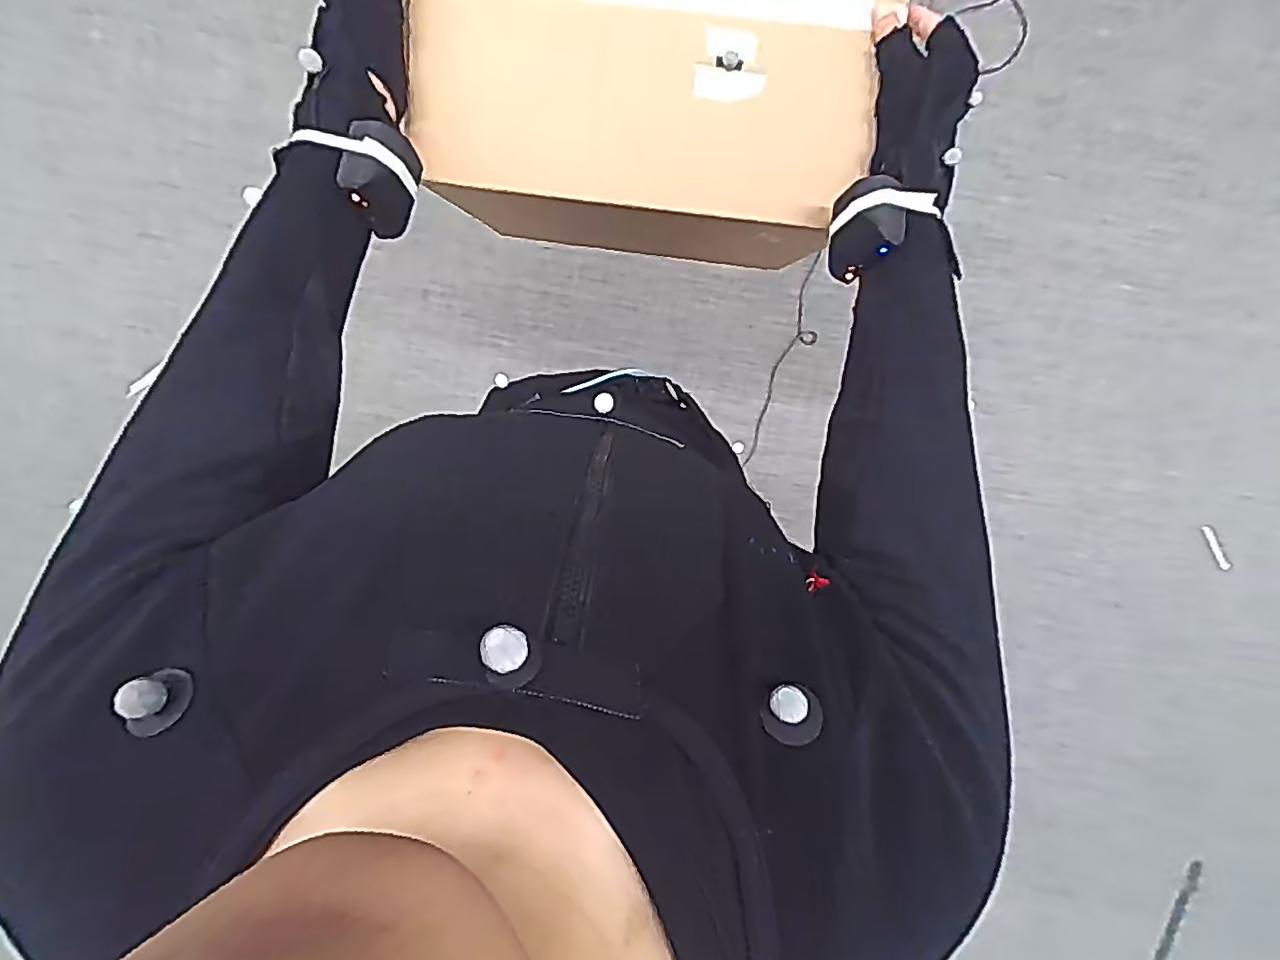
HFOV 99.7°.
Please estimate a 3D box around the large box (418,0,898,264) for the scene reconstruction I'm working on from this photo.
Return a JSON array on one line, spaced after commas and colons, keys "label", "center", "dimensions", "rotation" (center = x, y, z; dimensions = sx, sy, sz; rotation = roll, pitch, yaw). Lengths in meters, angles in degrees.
[{"label": "large box", "center": [0.014, -0.435, 0.592], "dimensions": [0.408, 0.320, 0.320], "rotation": [6, 106, -2]}]
